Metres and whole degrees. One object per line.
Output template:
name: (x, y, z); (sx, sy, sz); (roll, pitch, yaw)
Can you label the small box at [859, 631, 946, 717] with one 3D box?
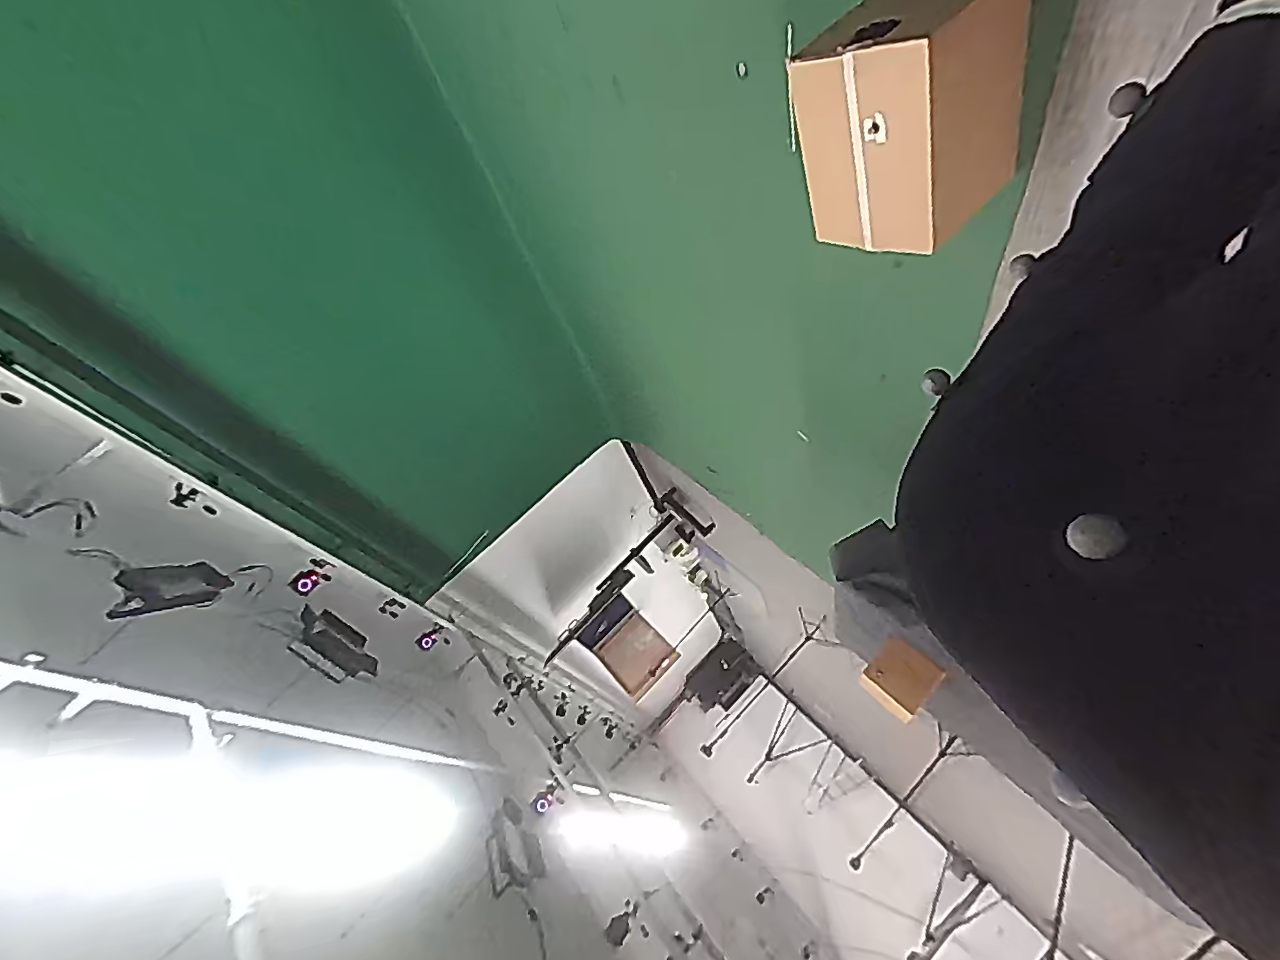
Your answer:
small box: (0.818, 0.604, 1.690); (0.179, 0.176, 0.168); (40, 168, 32)
